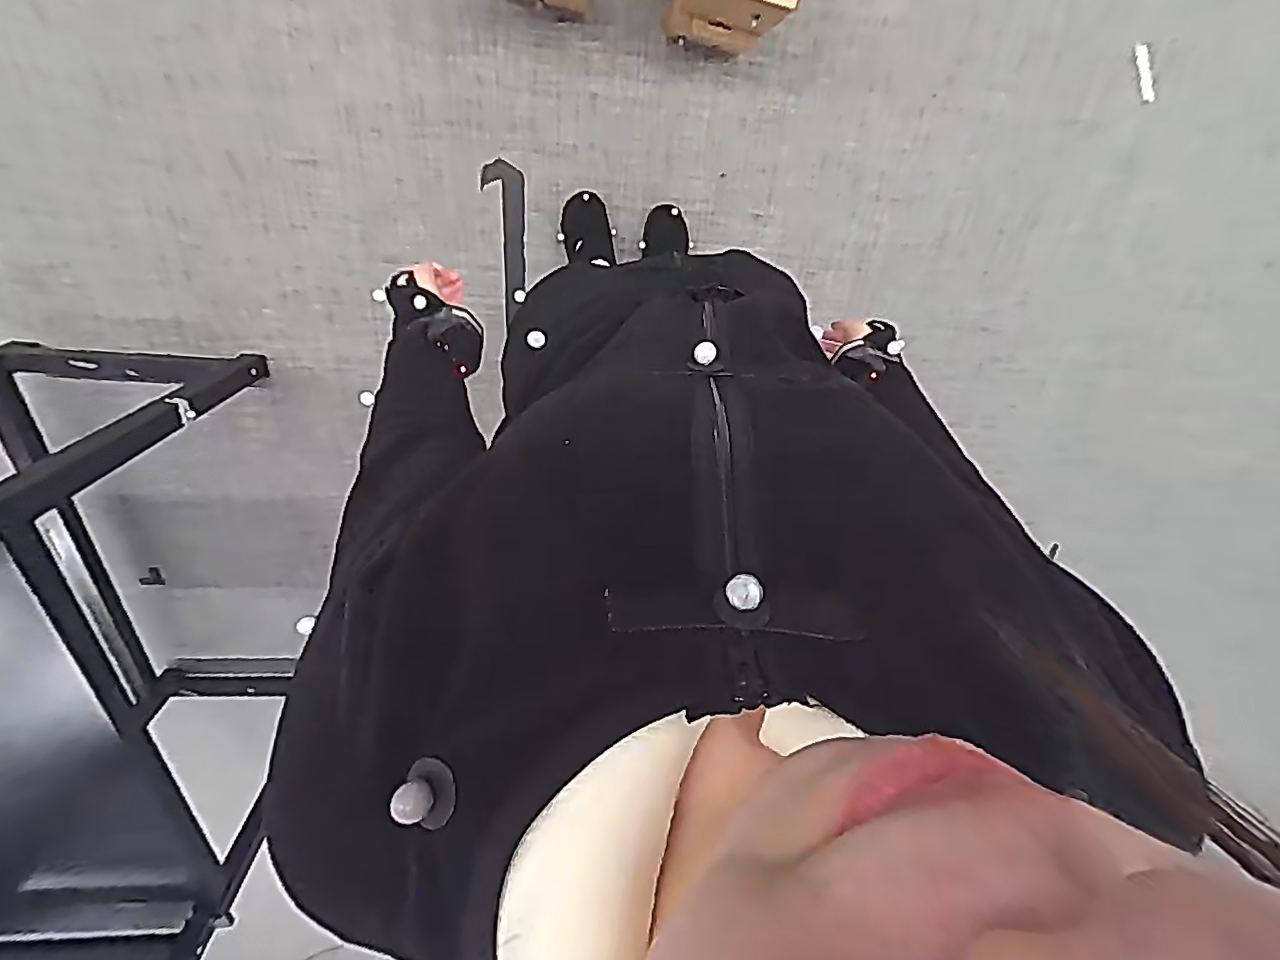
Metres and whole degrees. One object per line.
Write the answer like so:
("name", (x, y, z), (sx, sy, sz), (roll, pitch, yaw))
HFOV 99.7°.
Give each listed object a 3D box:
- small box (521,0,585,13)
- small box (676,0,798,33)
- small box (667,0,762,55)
("small box", (-0.174, -0.964, 0.957), (0.179, 0.176, 0.168), (6, 119, -10))
("small box", (0.169, -0.853, 0.866), (0.179, 0.176, 0.168), (9, 117, -10))
("small box", (0.152, -0.929, 1.009), (0.168, 0.176, 0.179), (7, 118, -10))
